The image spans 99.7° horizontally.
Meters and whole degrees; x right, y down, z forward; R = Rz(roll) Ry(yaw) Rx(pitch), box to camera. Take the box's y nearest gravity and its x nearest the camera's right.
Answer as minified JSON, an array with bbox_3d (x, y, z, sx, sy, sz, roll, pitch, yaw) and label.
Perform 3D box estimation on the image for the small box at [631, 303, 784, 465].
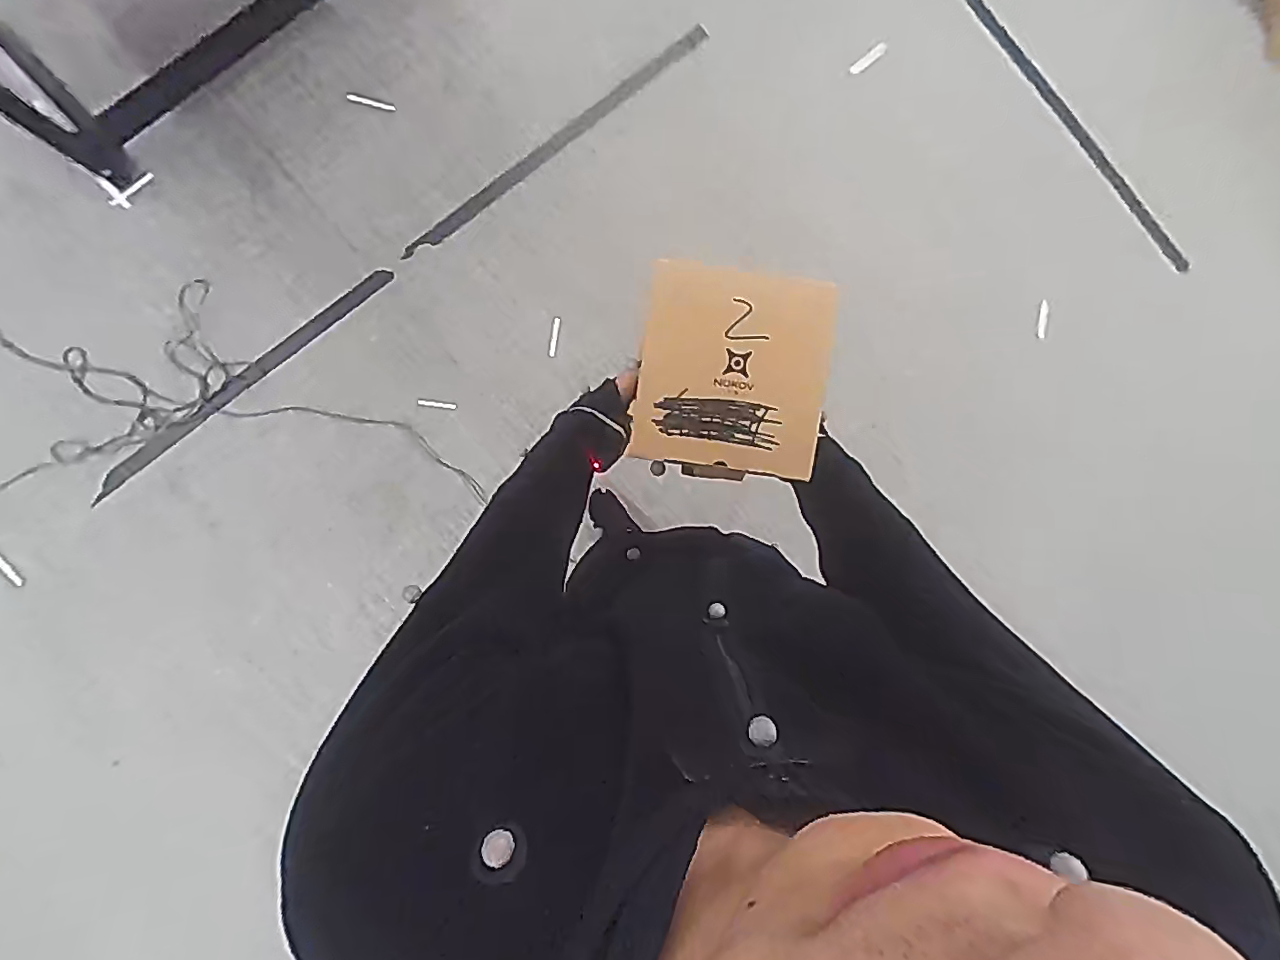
[{"bbox_3d":[0.077,-0.120,0.713,0.168,0.176,0.179,5,97,-1],"label":"small box"}]
